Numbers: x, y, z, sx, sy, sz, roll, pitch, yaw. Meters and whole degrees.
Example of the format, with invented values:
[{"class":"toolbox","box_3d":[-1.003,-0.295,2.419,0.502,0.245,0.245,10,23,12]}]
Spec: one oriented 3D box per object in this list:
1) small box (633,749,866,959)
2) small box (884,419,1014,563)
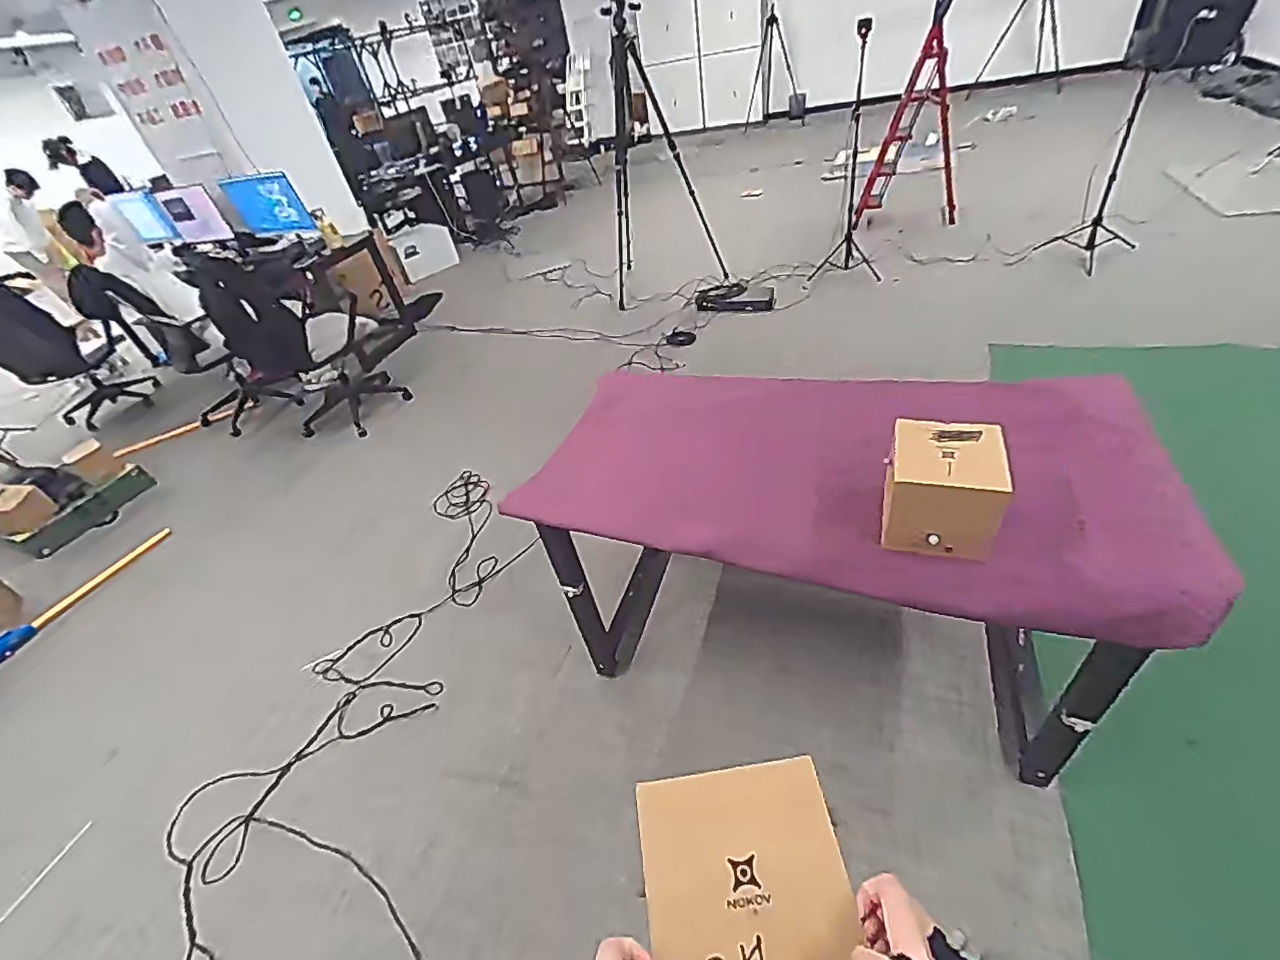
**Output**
[{"class":"small box","box_3d":[0.092,0.372,0.496,0.168,0.176,0.179,-11,50,3]},{"class":"small box","box_3d":[0.525,0.015,0.941,0.168,0.176,0.179,6,43,22]}]
